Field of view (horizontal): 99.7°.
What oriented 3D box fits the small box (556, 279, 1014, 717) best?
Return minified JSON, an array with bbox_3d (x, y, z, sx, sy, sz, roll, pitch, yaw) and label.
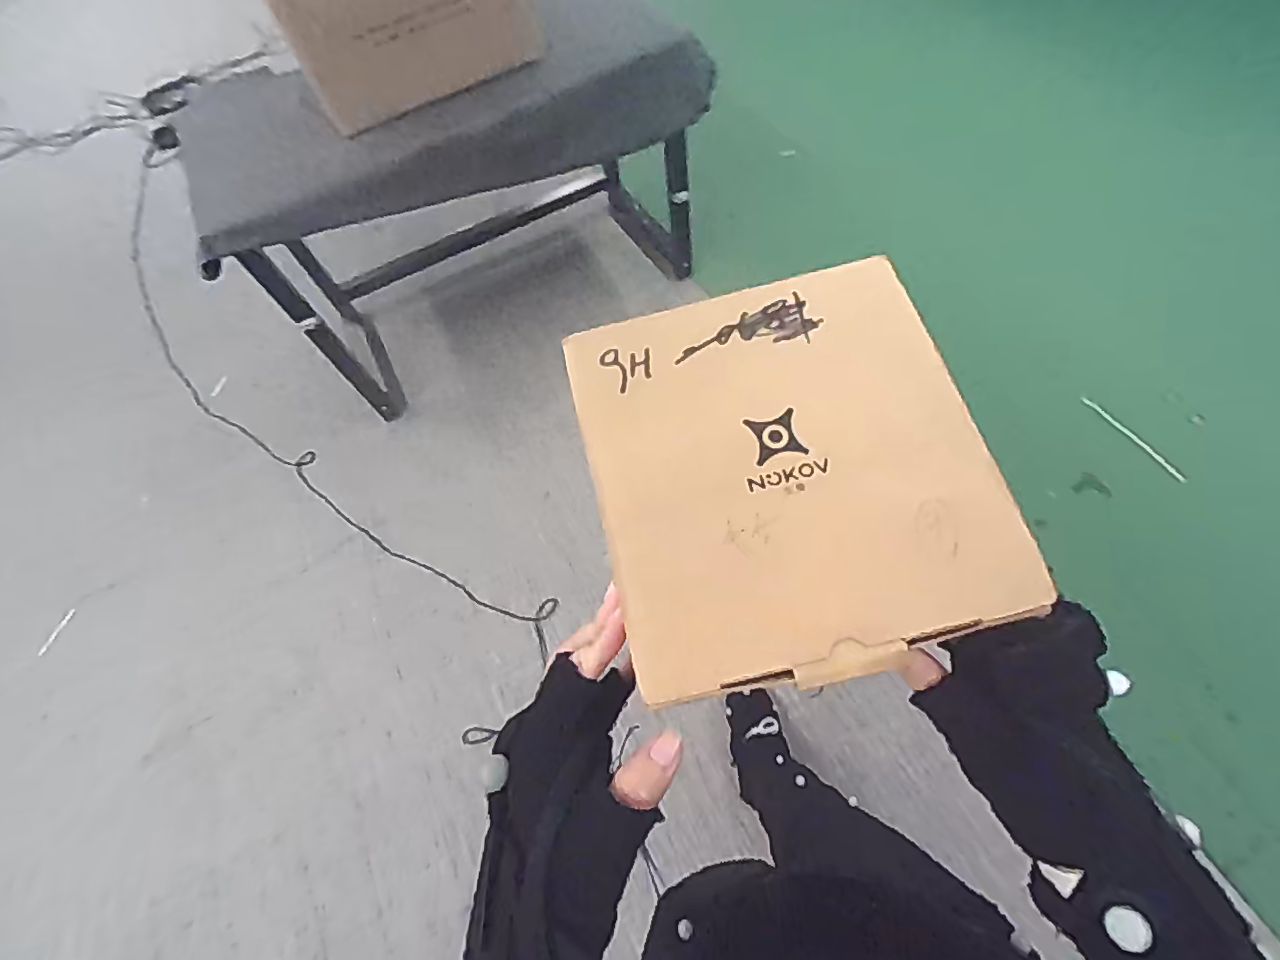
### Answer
[{"bbox_3d":[0.062,0.022,0.320,0.168,0.176,0.179,-14,71,0],"label":"small box"}]
